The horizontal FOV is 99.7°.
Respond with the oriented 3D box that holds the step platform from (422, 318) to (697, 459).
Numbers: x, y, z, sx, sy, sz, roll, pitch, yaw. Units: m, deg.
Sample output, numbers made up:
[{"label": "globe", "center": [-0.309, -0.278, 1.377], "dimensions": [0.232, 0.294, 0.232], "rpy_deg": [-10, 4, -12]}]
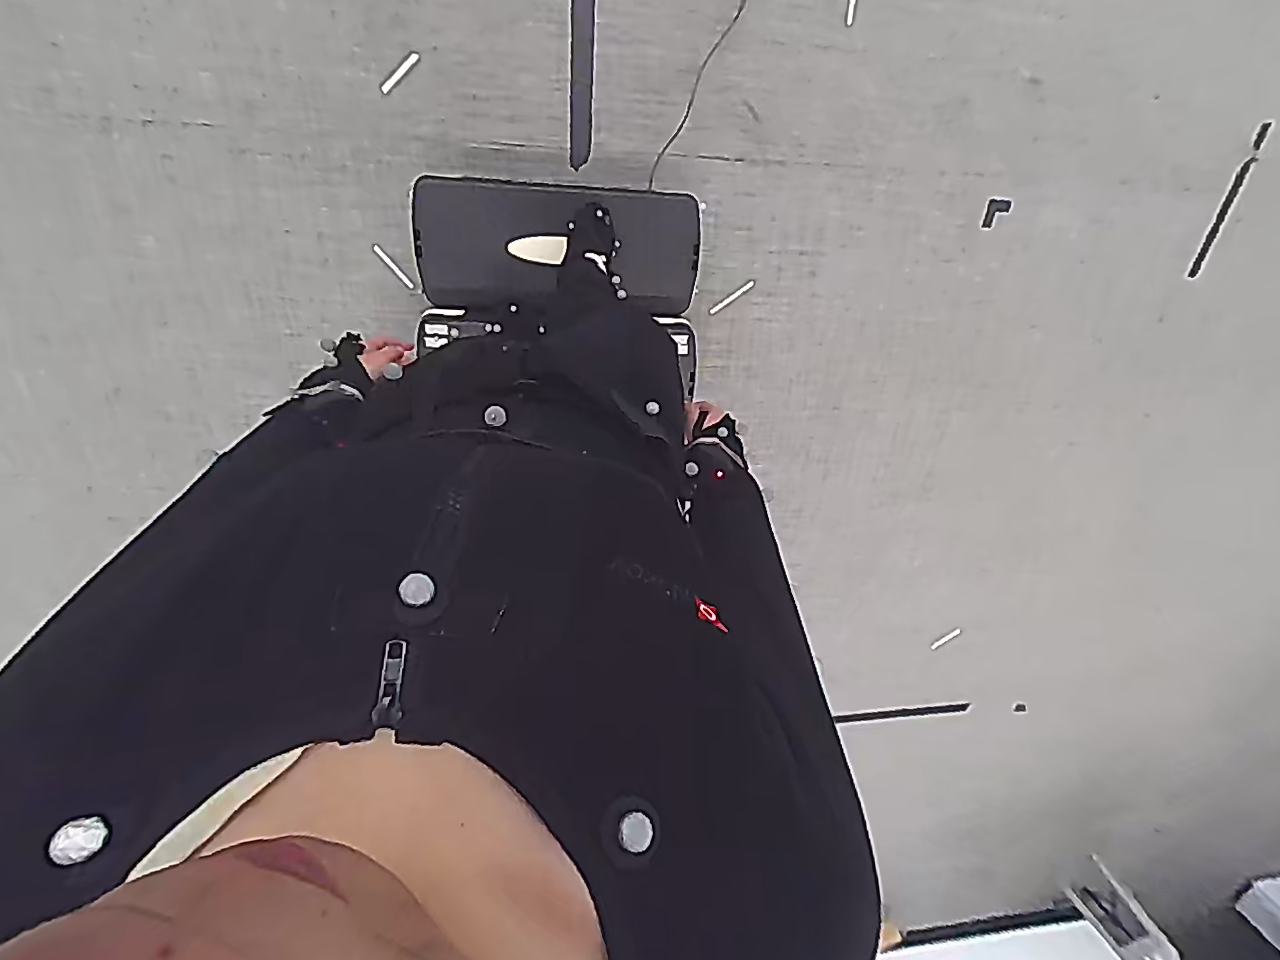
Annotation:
[{"label": "step platform", "center": [-0.197, -0.230, 1.398], "dimensions": [0.684, 0.204, 0.286], "rpy_deg": [4, 113, -9]}]
